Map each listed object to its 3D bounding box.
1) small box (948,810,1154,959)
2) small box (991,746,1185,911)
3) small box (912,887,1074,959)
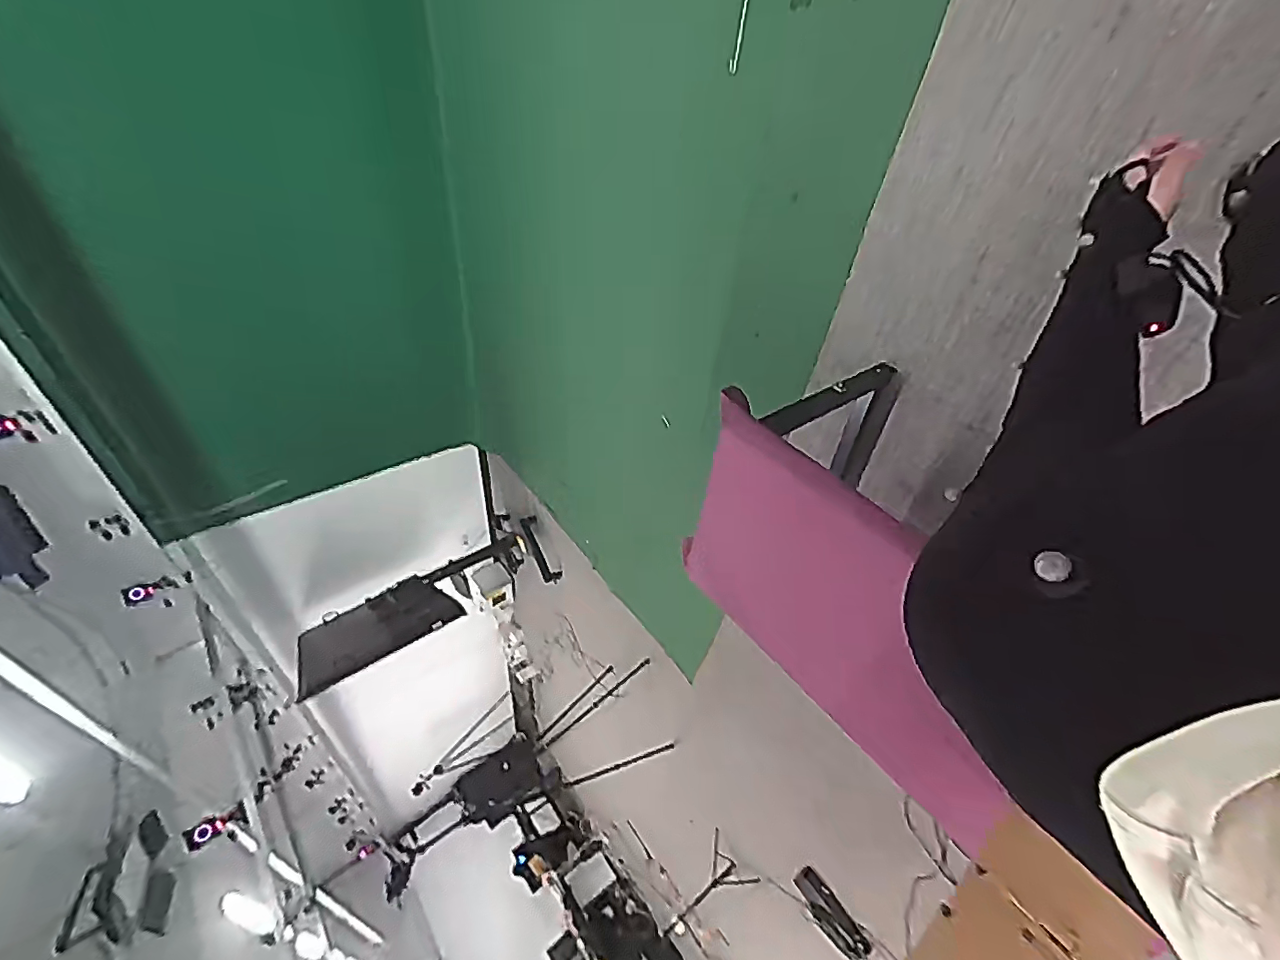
[{"bbox_3d":[0.612,0.640,0.809,0.168,0.176,0.179,41,143,34],"label":"small box"},{"bbox_3d":[0.740,0.588,0.897,0.168,0.176,0.179,41,141,34],"label":"small box"},{"bbox_3d":[0.483,0.705,0.731,0.168,0.176,0.179,40,142,35],"label":"small box"}]
